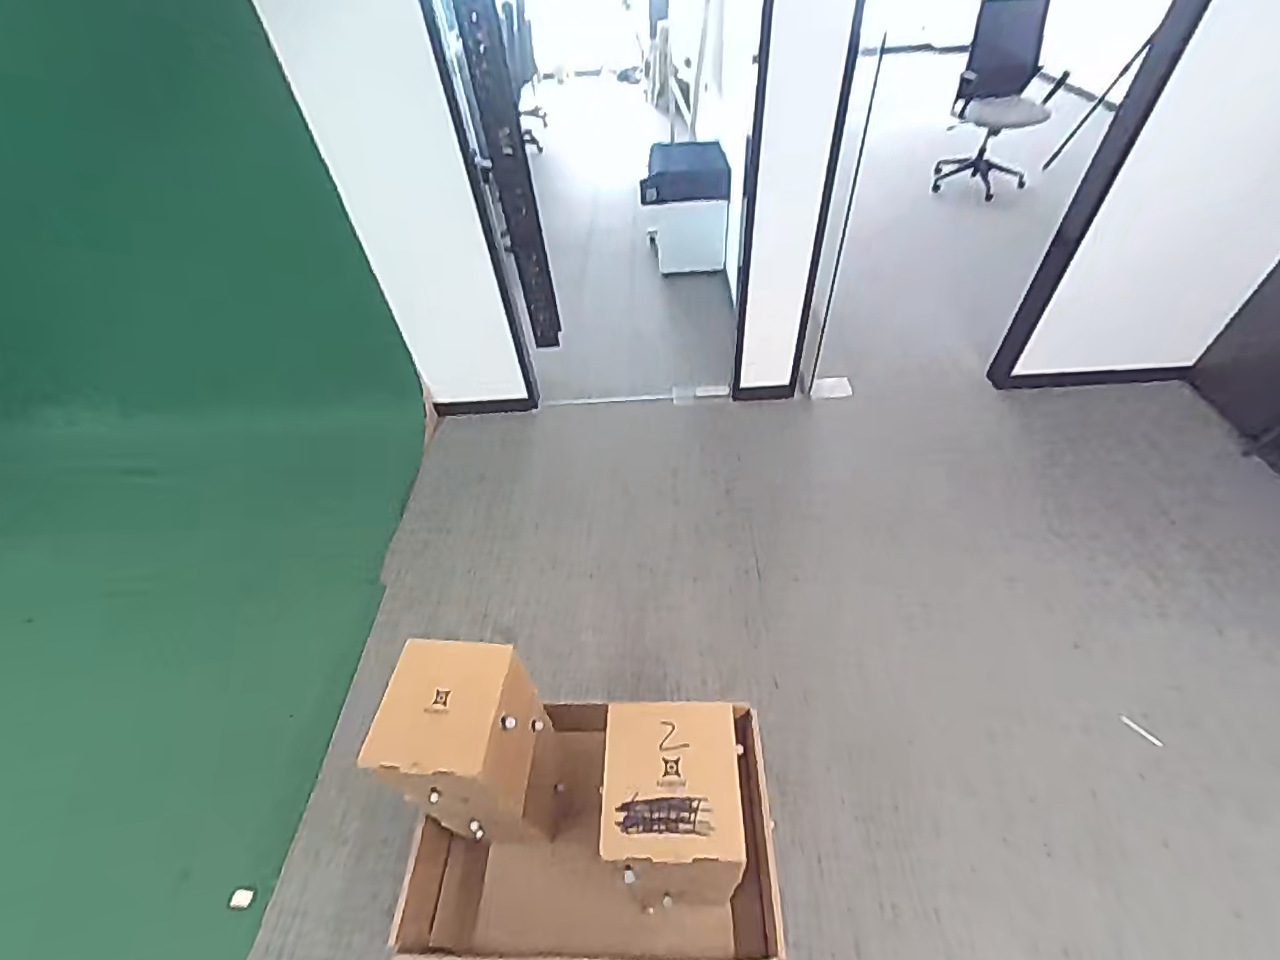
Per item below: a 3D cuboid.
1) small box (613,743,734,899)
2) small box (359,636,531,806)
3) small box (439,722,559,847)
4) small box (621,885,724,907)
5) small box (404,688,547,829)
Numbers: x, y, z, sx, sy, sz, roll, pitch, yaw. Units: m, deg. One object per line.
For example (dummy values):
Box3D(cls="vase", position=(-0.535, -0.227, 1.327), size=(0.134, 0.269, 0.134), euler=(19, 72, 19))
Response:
Box3D(cls="small box", position=(0.049, 0.525, 0.833), size=(0.168, 0.176, 0.179), euler=(-2, 47, 3))
Box3D(cls="small box", position=(-0.268, 0.354, 0.795), size=(0.168, 0.176, 0.179), euler=(3, 48, 6))
Box3D(cls="small box", position=(-0.256, 0.577, 1.032), size=(0.168, 0.176, 0.179), euler=(1, 47, 5))
Box3D(cls="small box", position=(0.059, 0.635, 0.953), size=(0.168, 0.176, 0.179), euler=(-1, 46, 3))
Box3D(cls="small box", position=(-0.262, 0.464, 0.913), size=(0.168, 0.176, 0.179), euler=(1, 47, 6))
